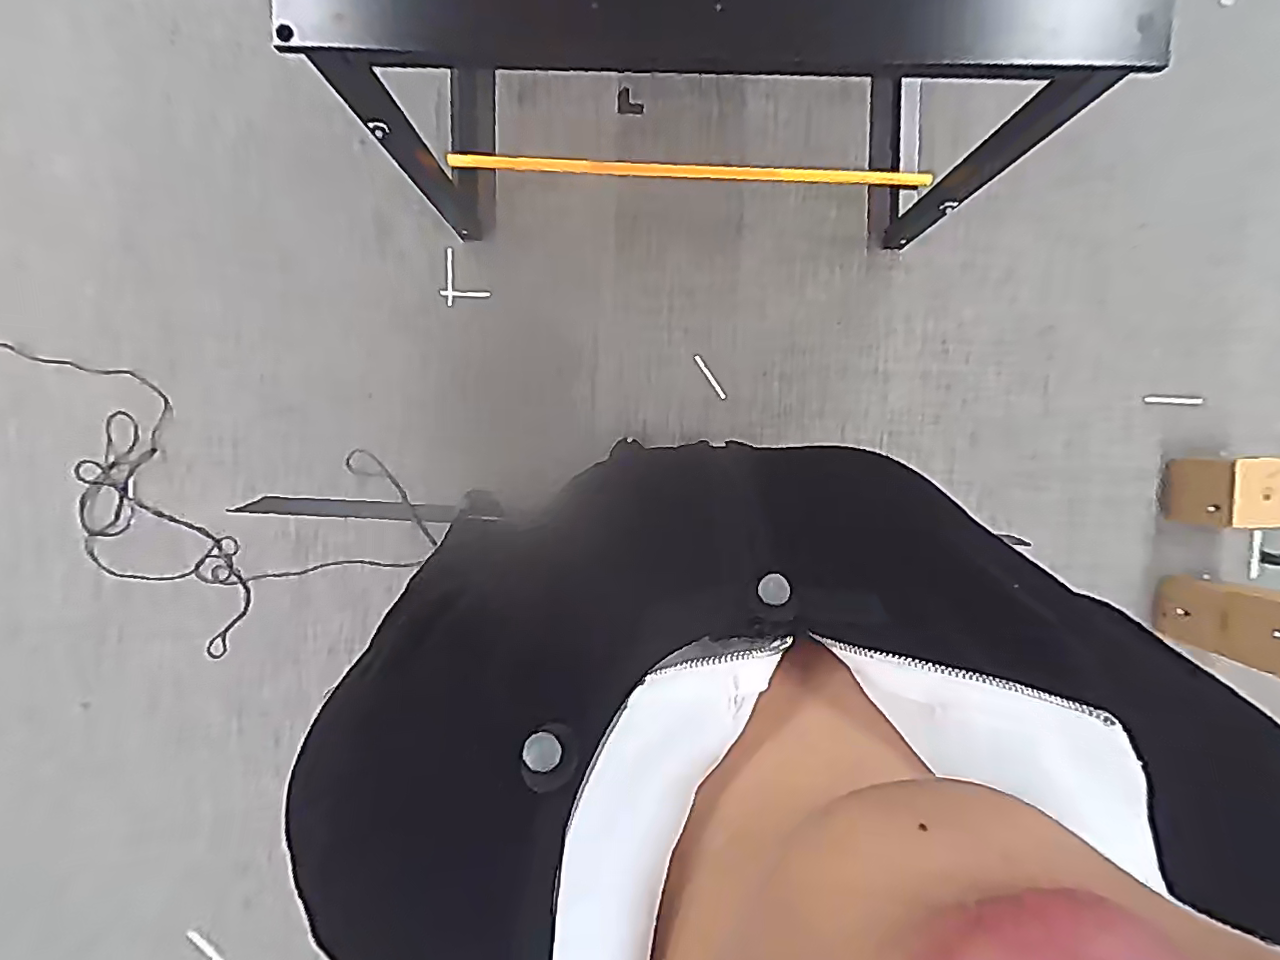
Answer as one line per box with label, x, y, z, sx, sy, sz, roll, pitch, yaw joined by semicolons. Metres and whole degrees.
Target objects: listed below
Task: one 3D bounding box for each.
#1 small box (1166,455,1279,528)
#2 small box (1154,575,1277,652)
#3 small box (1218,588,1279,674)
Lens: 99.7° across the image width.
small box;1.535;0.026;1.414;0.168;0.176;0.179;-1;93;0
small box;1.531;0.353;1.438;0.179;0.176;0.168;3;94;1
small box;1.532;0.360;1.272;0.168;0.176;0.179;2;95;0
